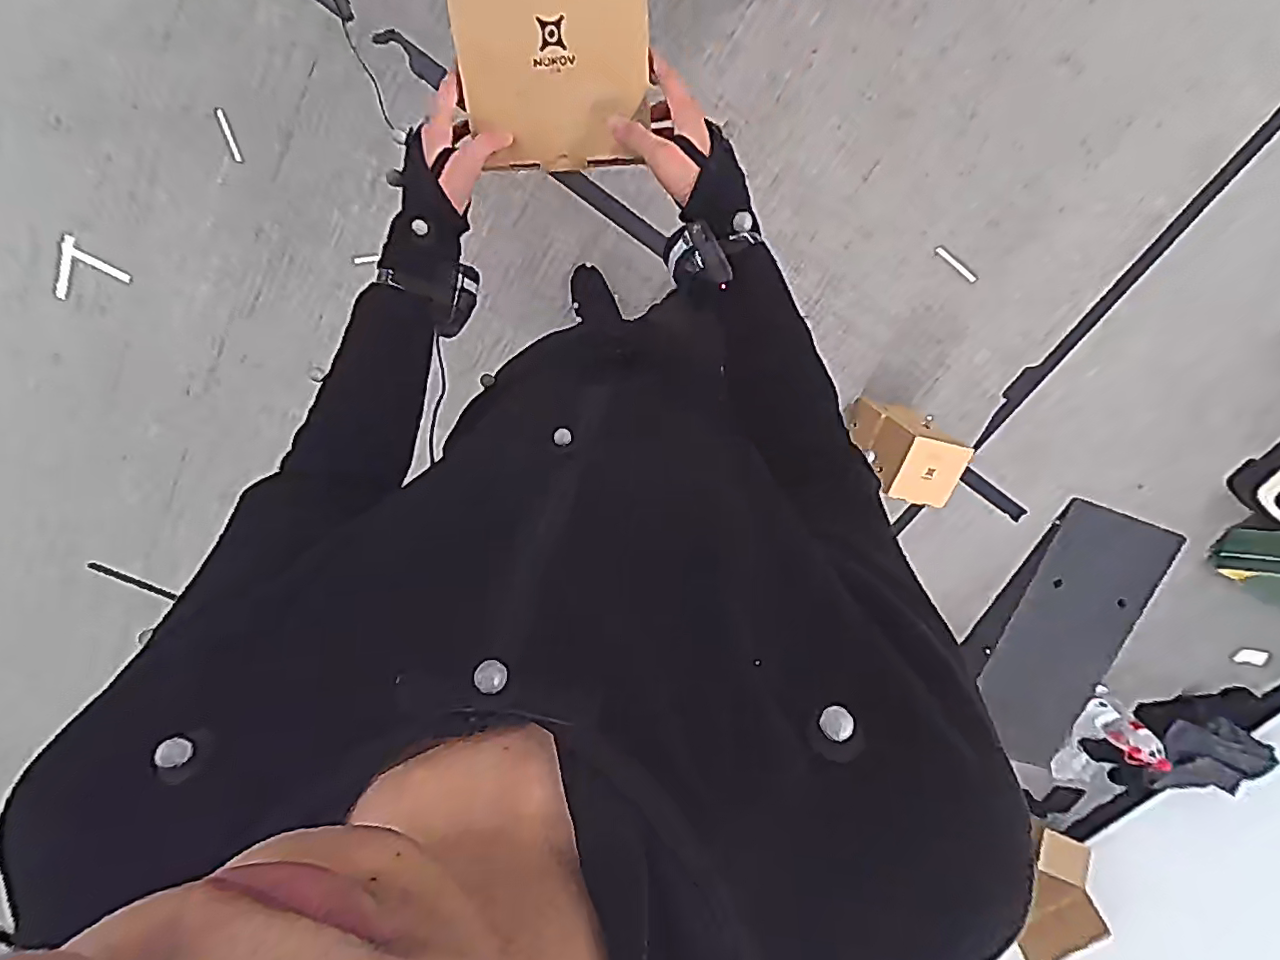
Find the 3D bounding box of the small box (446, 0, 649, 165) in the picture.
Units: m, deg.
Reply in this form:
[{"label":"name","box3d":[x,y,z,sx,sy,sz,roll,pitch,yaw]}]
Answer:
[{"label":"small box","box3d":[-0.076,-0.414,0.528,0.168,0.176,0.179,-2,120,2]}]
